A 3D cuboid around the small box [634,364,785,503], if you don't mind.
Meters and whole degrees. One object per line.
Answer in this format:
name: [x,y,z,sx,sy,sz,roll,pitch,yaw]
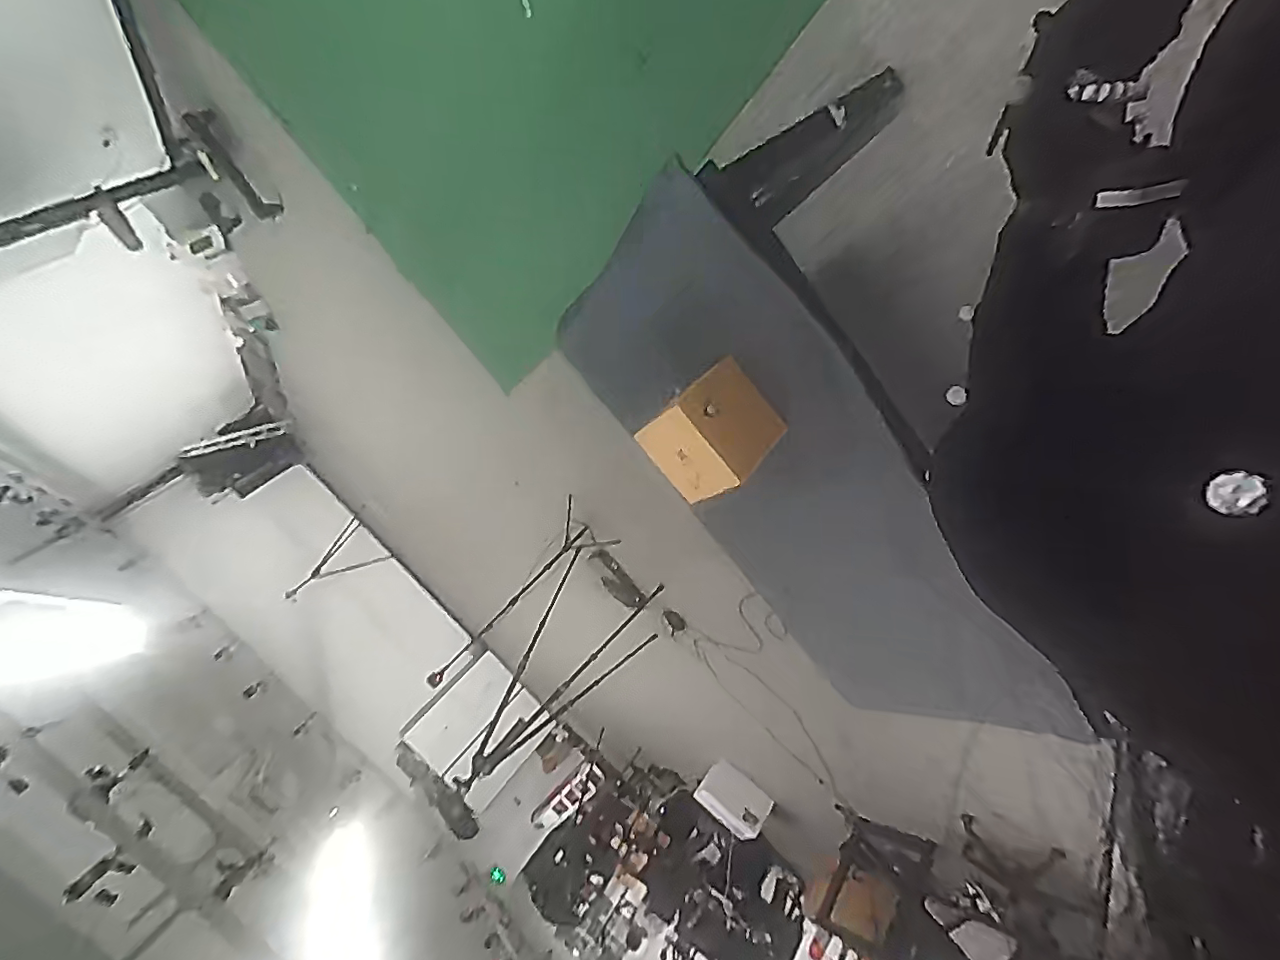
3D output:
small box: [0.128,-0.089,0.997,0.179,0.176,0.168,49,149,-8]
